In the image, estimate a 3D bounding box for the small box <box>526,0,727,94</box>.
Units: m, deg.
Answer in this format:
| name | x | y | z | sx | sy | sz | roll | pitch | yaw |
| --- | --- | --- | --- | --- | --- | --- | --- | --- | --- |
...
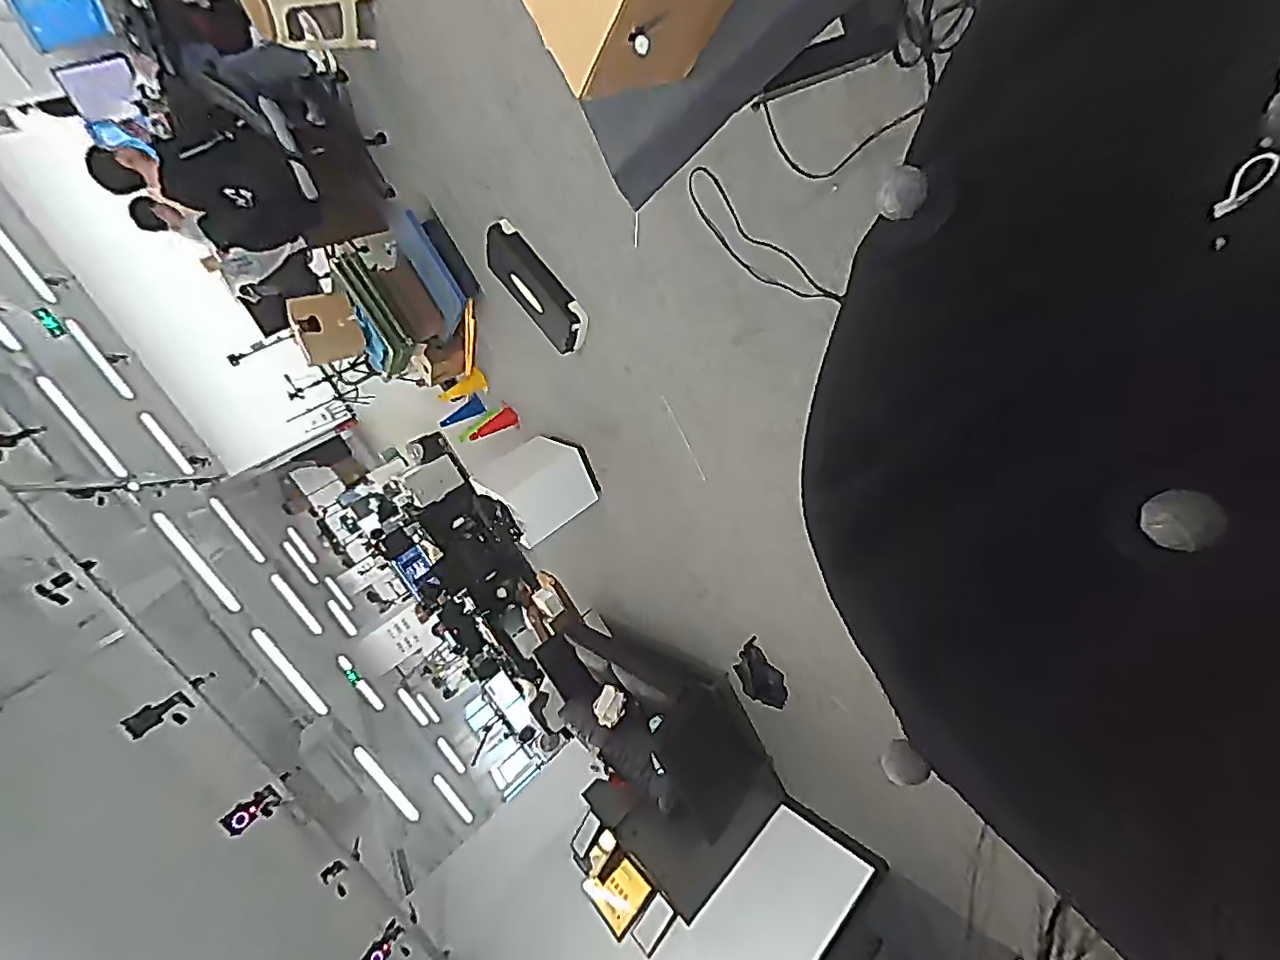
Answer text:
| name | x | y | z | sx | sy | sz | roll | pitch | yaw |
| --- | --- | --- | --- | --- | --- | --- | --- | --- | --- |
| small box | -0.009 | -0.536 | 0.532 | 0.168 | 0.176 | 0.179 | 59 | 154 | -7 |
